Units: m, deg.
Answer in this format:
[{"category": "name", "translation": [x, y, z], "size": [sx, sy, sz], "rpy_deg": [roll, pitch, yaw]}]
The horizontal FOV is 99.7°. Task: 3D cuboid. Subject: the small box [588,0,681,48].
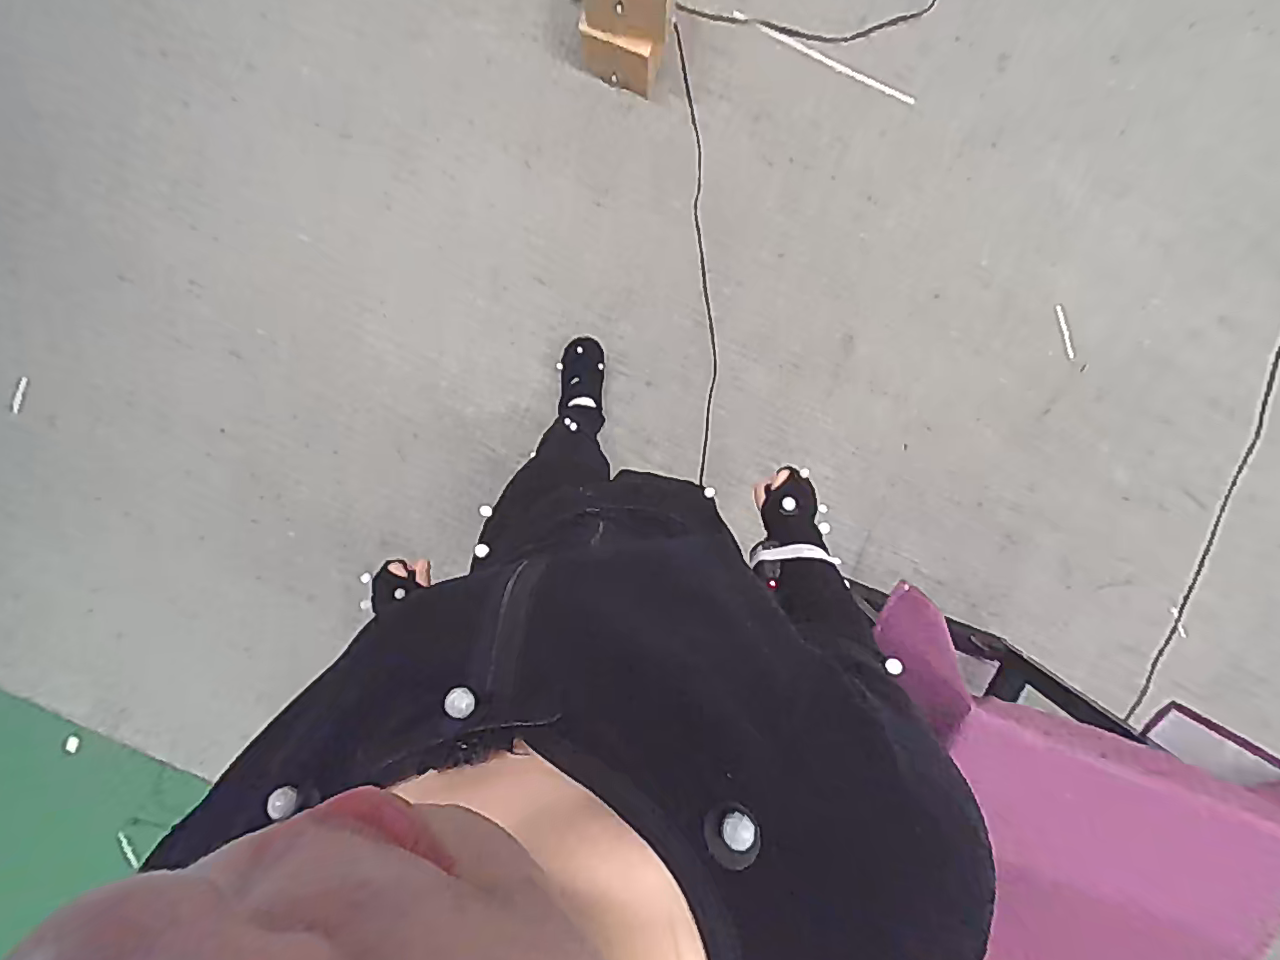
[{"category": "small box", "translation": [-0.001, -1.014, 1.083], "size": [0.179, 0.176, 0.168], "rpy_deg": [12, 99, 2]}]
